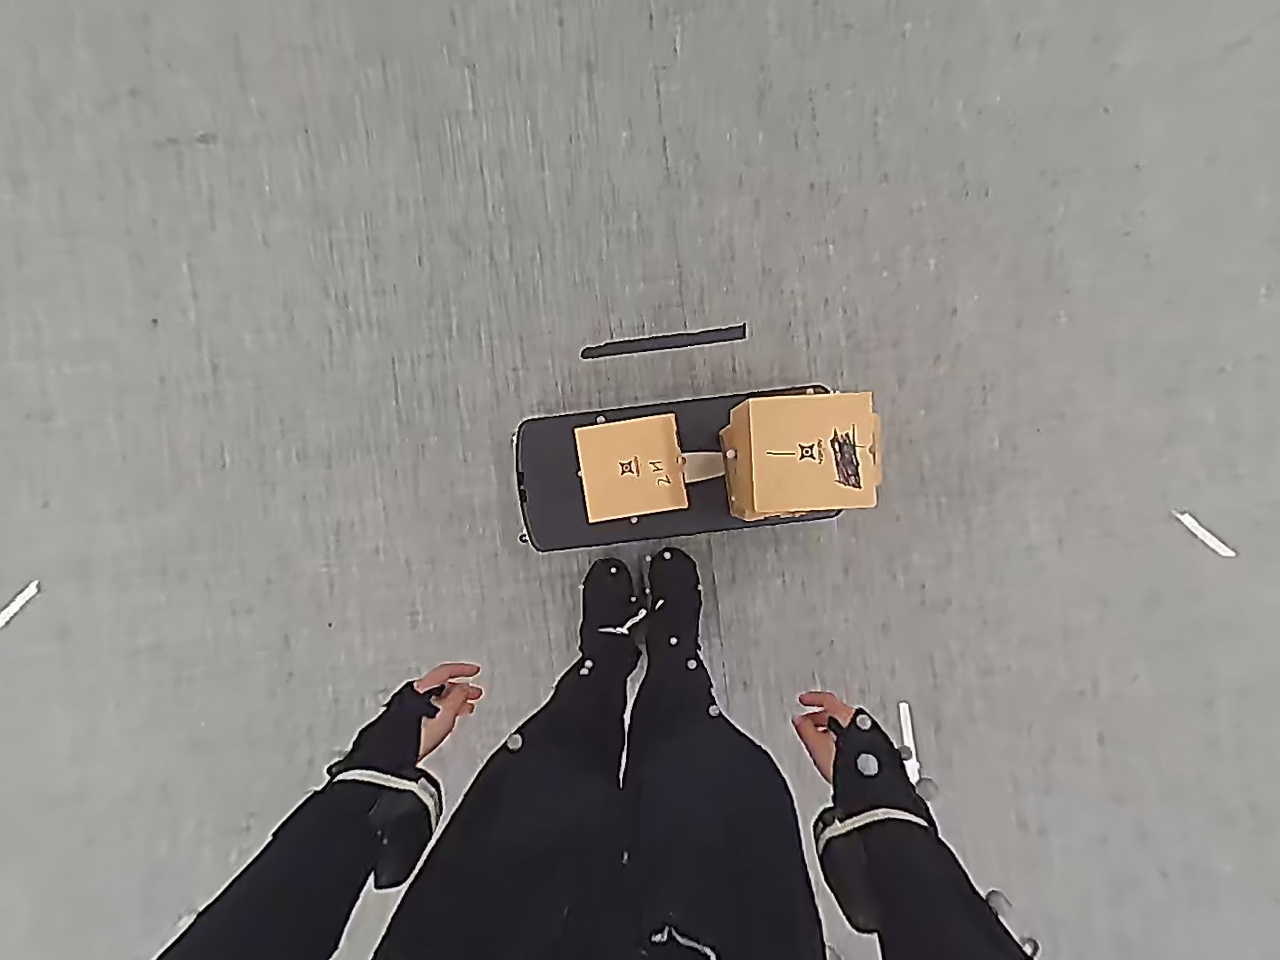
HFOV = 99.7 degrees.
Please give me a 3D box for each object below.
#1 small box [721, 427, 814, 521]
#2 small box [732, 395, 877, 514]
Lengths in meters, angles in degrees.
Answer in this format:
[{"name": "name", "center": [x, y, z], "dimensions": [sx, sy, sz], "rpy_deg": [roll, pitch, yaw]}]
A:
[{"name": "small box", "center": [0.252, -0.025, 1.005], "dimensions": [0.168, 0.176, 0.179], "rpy_deg": [-9, 91, 0]}, {"name": "small box", "center": [0.246, -0.038, 0.841], "dimensions": [0.179, 0.176, 0.168], "rpy_deg": [-3, 91, 1]}]
